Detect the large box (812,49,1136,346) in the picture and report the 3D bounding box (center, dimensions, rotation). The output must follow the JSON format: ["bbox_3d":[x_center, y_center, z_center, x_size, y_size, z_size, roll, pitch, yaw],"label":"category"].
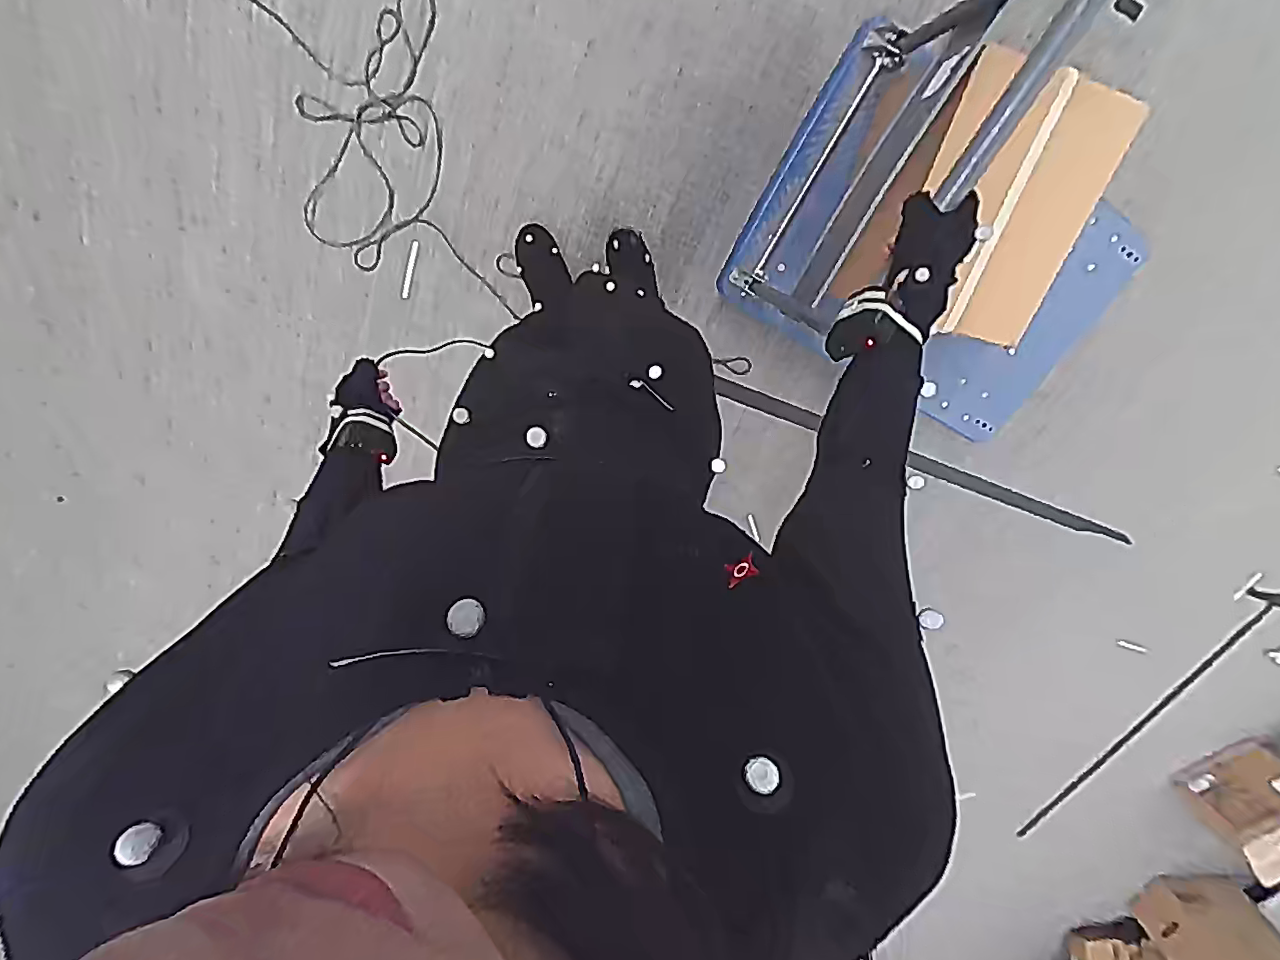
[{"bbox_3d":[0.595,-0.524,1.055,0.320,0.320,0.408,11,116,-10],"label":"large box"}]
